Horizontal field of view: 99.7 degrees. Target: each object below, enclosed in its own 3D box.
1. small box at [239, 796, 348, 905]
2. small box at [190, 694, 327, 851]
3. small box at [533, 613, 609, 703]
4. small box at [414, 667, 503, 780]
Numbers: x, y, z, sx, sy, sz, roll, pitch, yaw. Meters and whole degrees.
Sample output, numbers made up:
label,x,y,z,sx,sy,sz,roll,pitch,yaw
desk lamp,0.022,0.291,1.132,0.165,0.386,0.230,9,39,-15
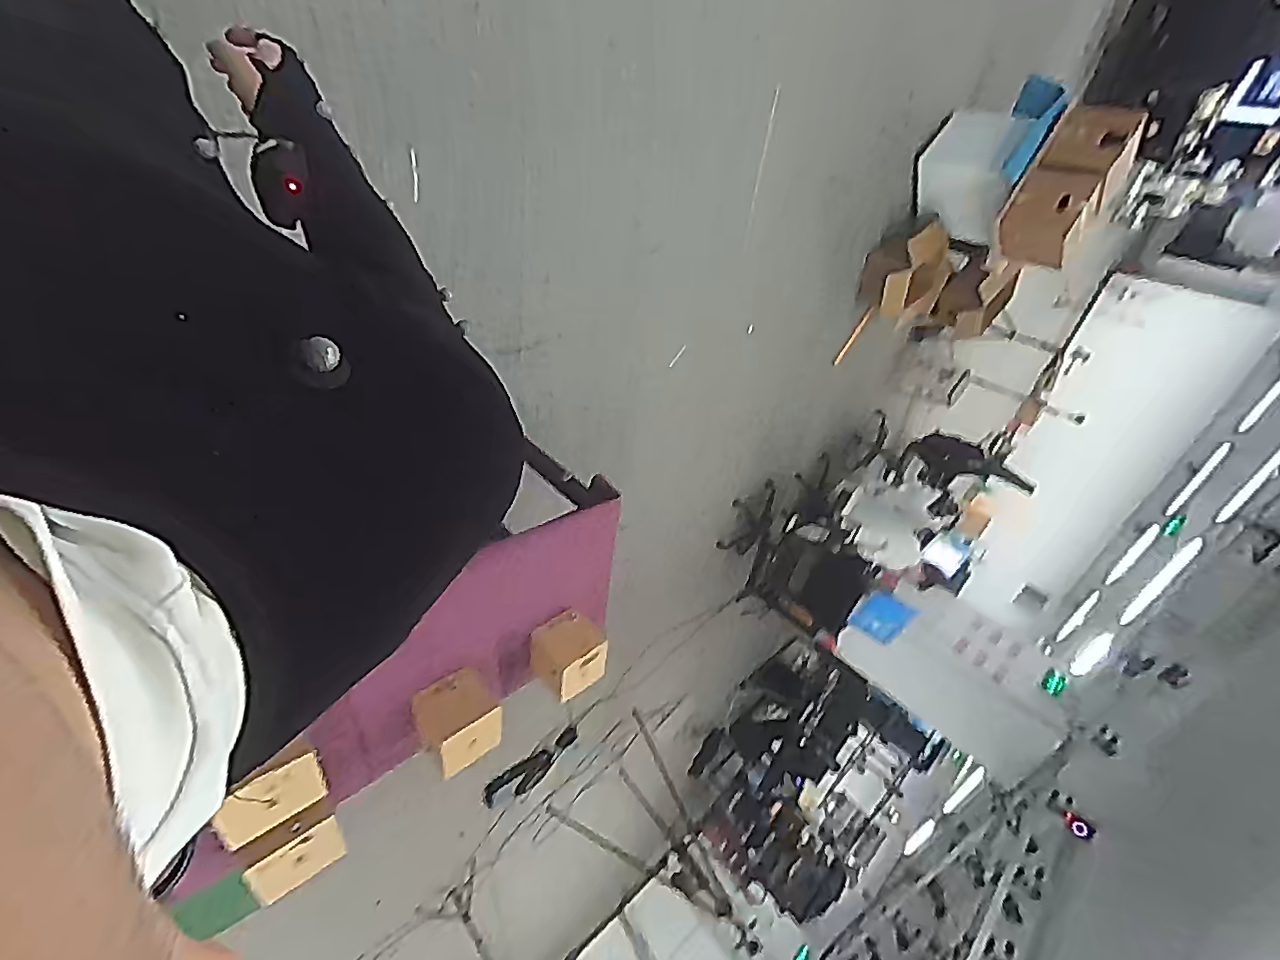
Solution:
label,x,y,z,sx,sy,sz,roll,pitch,yaw
small box,-0.774,0.772,1.194,0.168,0.176,0.179,-23,135,-38
small box,-0.735,0.557,1.048,0.168,0.176,0.179,-22,136,-39
small box,-0.215,0.533,1.652,0.168,0.176,0.179,-23,136,-37
small box,-0.479,0.638,1.434,0.168,0.176,0.179,-22,134,-38
